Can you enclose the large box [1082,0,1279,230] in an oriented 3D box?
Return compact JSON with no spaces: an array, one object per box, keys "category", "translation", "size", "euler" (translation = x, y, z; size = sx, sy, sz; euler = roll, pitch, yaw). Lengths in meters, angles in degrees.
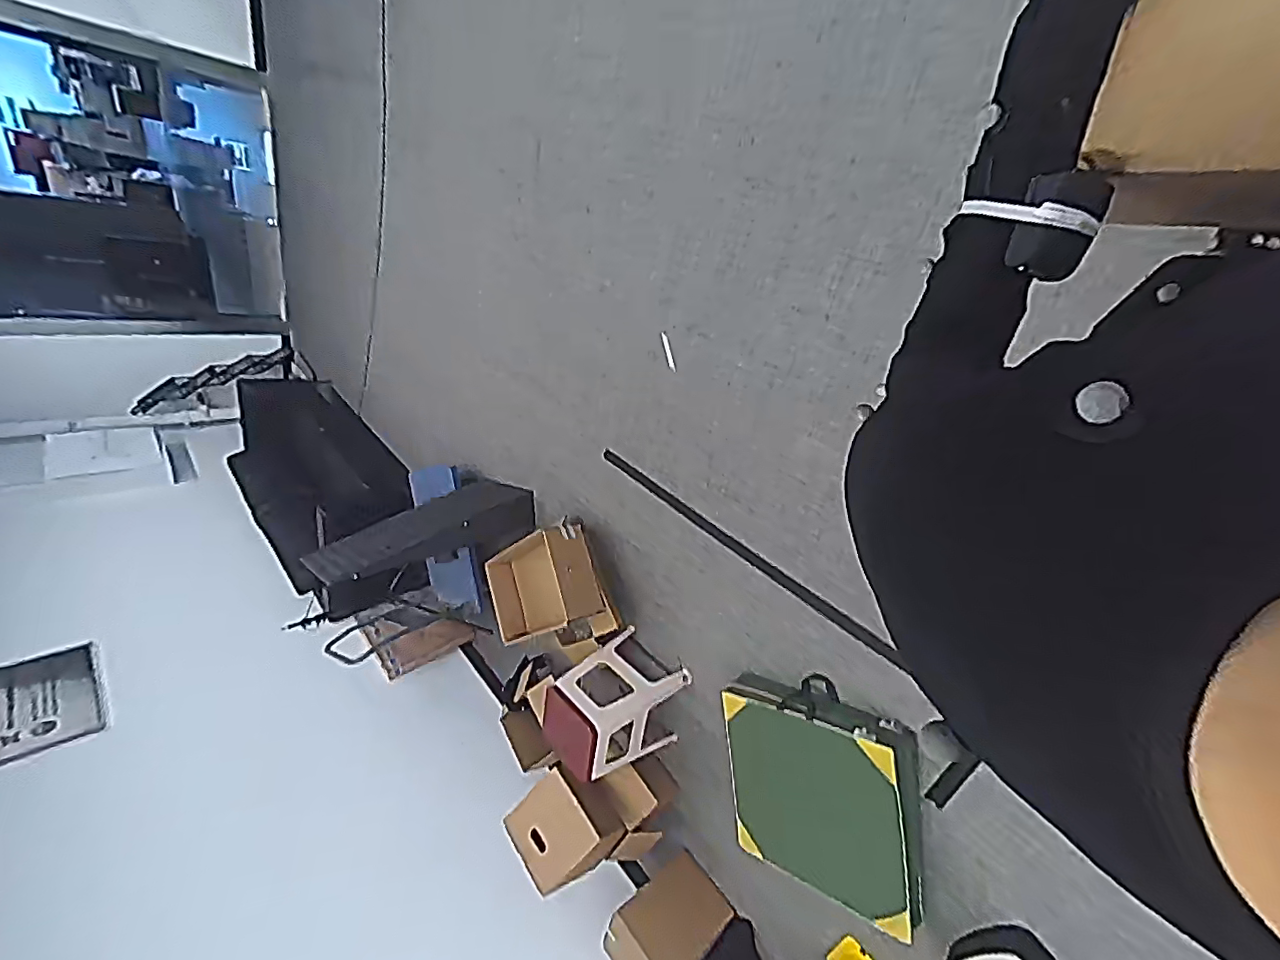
[{"category":"large box","translation":[0.569,-0.340,0.332],"size":[0.408,0.320,0.320],"euler":[20,116,35]}]
